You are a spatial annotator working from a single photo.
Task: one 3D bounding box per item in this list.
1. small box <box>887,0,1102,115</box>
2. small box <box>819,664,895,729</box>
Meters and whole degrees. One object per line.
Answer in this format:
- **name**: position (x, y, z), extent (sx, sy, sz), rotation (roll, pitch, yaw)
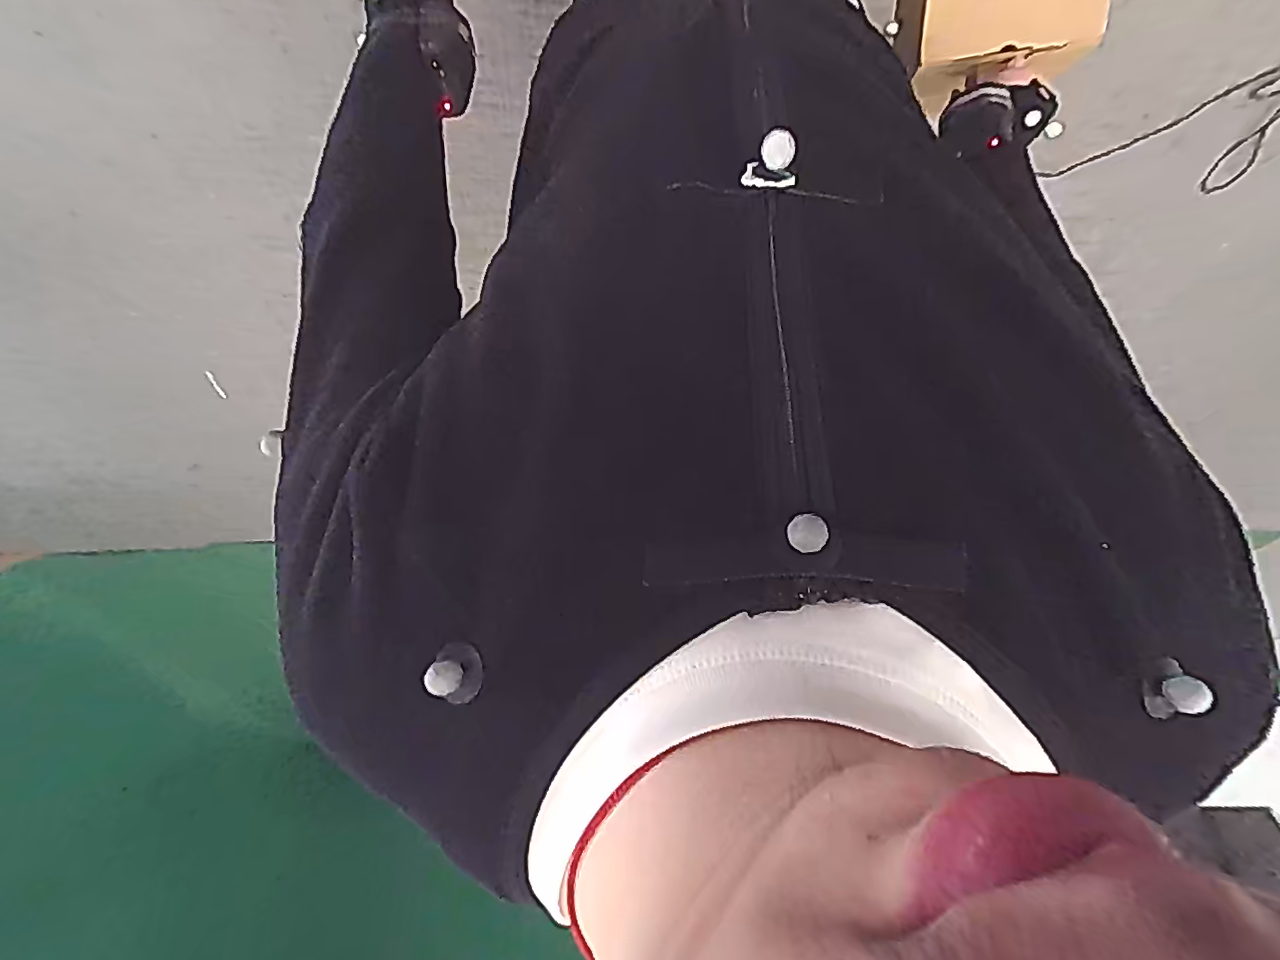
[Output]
- **small box**: position (0.385, -0.533, 0.602), extent (0.168, 0.176, 0.179), rotation (2, 105, 12)
- **small box**: position (0.731, 0.739, 1.848), extent (0.168, 0.176, 0.179), rotation (3, 140, -6)
